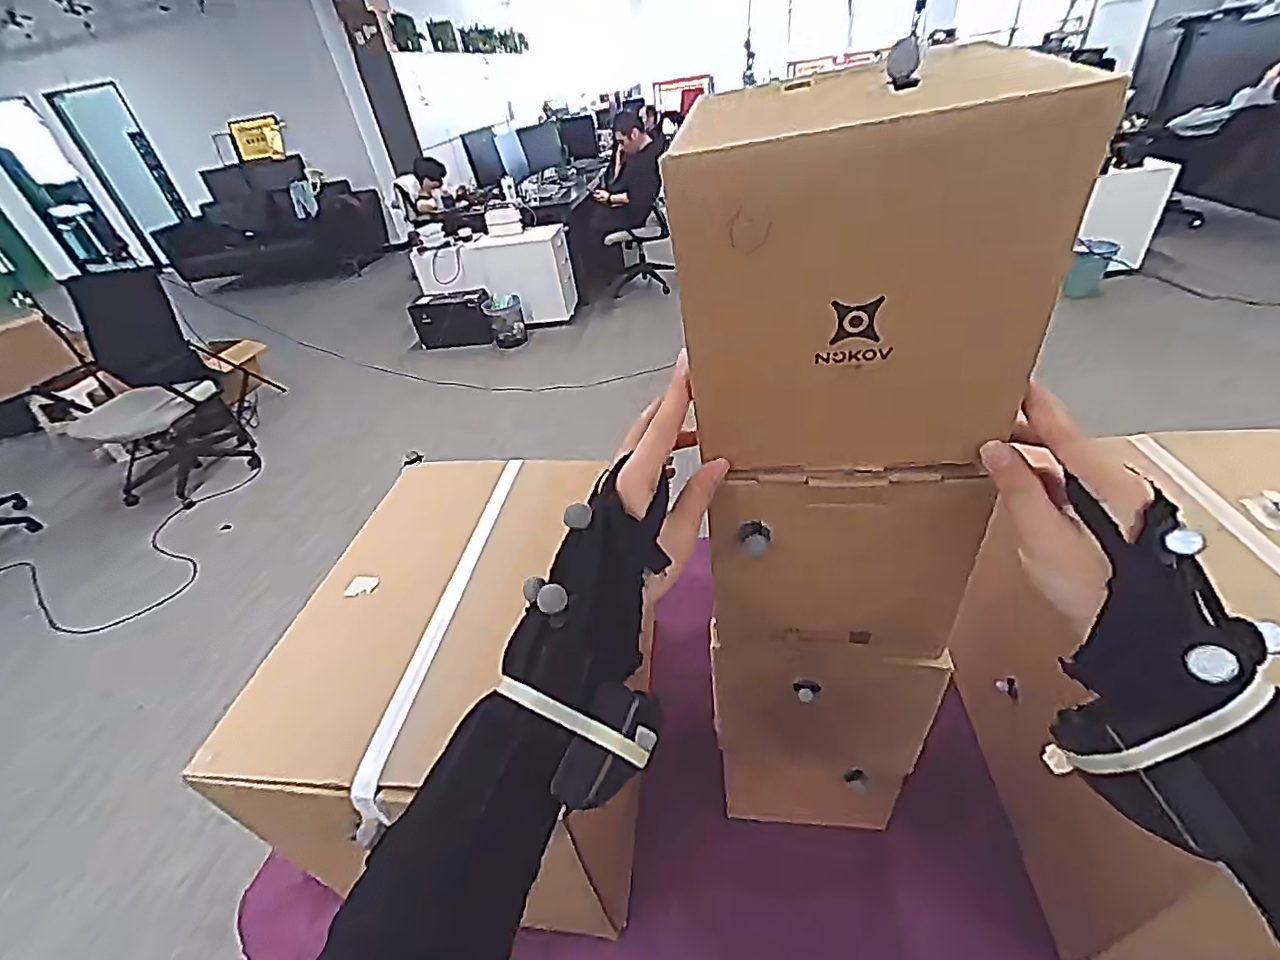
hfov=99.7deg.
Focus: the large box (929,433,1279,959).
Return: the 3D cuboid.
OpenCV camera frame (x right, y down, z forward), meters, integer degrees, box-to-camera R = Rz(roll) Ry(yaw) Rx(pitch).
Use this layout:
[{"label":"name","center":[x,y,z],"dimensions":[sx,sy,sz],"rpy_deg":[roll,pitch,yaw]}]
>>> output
[{"label":"large box","center":[0.531,0.197,0.527],"dimensions":[0.320,0.320,0.408],"rpy_deg":[-2,36,8]}]
